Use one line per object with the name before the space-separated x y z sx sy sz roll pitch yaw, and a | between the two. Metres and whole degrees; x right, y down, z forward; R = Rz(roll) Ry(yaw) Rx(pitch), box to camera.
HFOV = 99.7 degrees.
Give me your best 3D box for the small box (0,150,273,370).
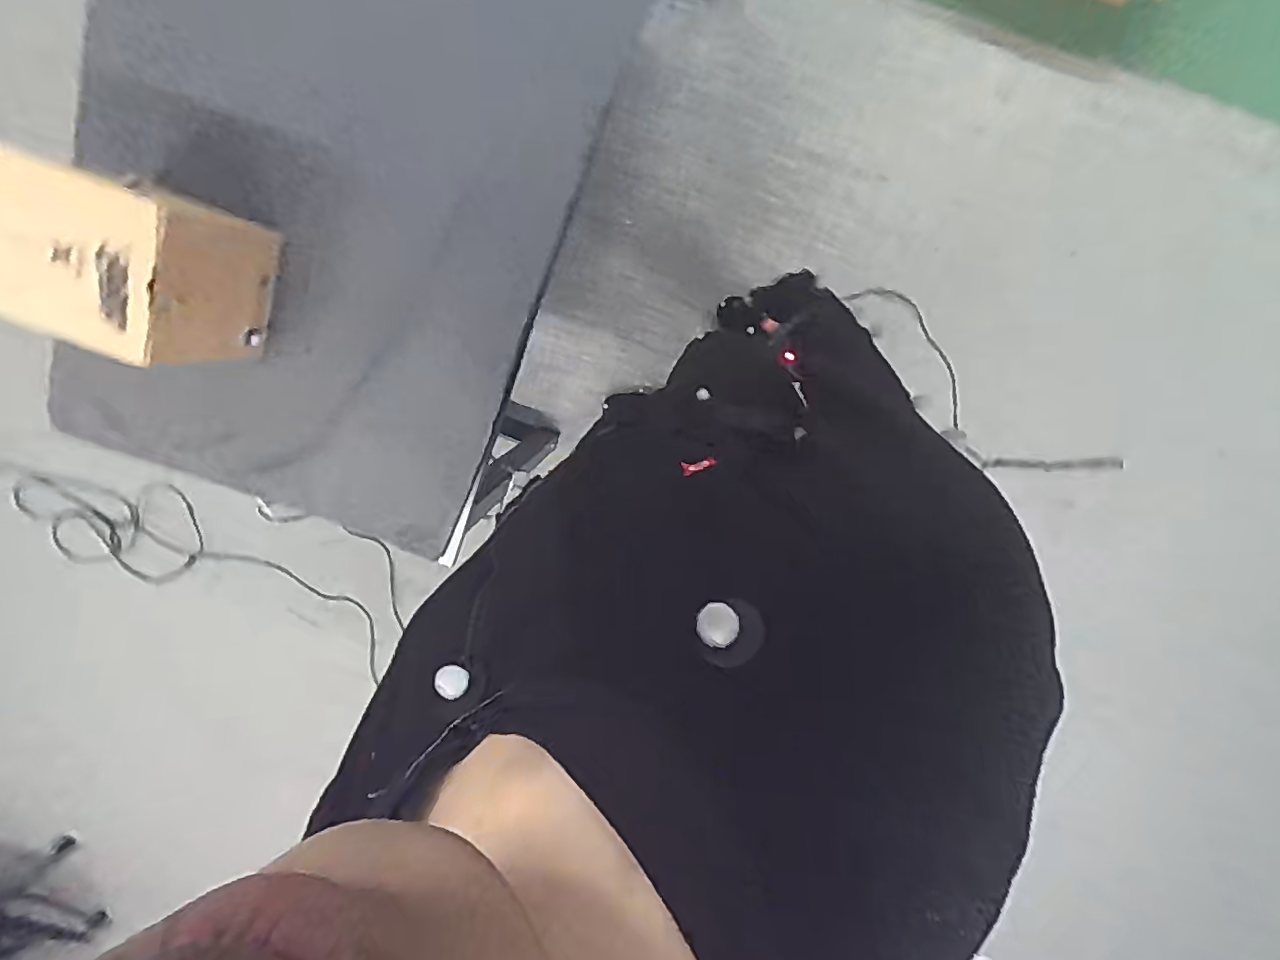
small box | -0.565 -0.238 0.617 0.179 0.176 0.168 20 105 -2
